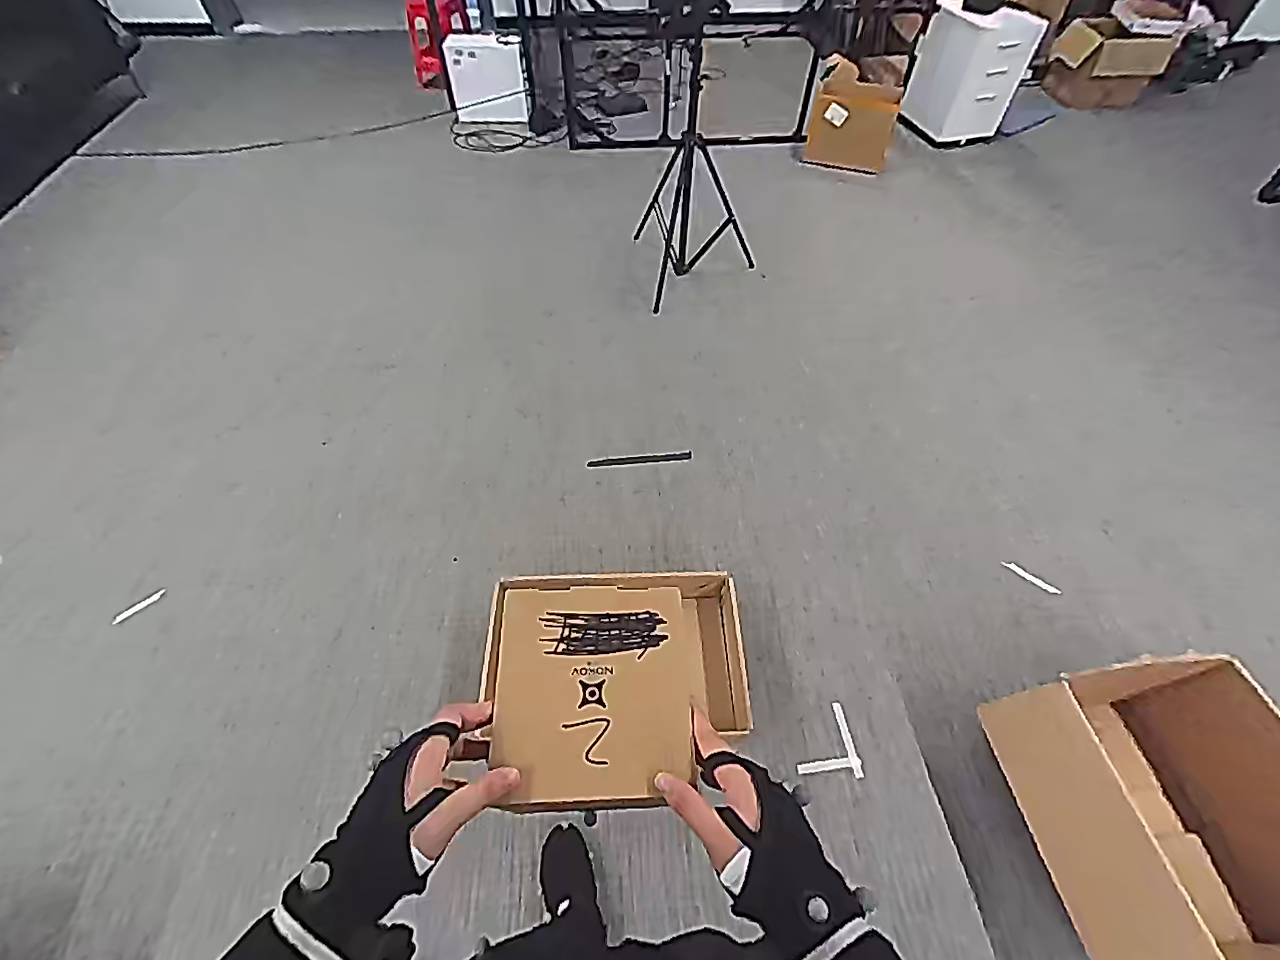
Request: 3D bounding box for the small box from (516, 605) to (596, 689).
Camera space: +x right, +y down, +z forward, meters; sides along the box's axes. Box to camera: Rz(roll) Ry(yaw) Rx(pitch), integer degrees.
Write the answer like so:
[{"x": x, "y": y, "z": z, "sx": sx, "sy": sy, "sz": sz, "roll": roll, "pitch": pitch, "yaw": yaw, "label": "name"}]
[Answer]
[{"x": -0.204, "y": 0.425, "z": 1.365, "sx": 0.179, "sy": 0.176, "sz": 0.168, "roll": 0, "pitch": 56, "yaw": -3, "label": "small box"}]
